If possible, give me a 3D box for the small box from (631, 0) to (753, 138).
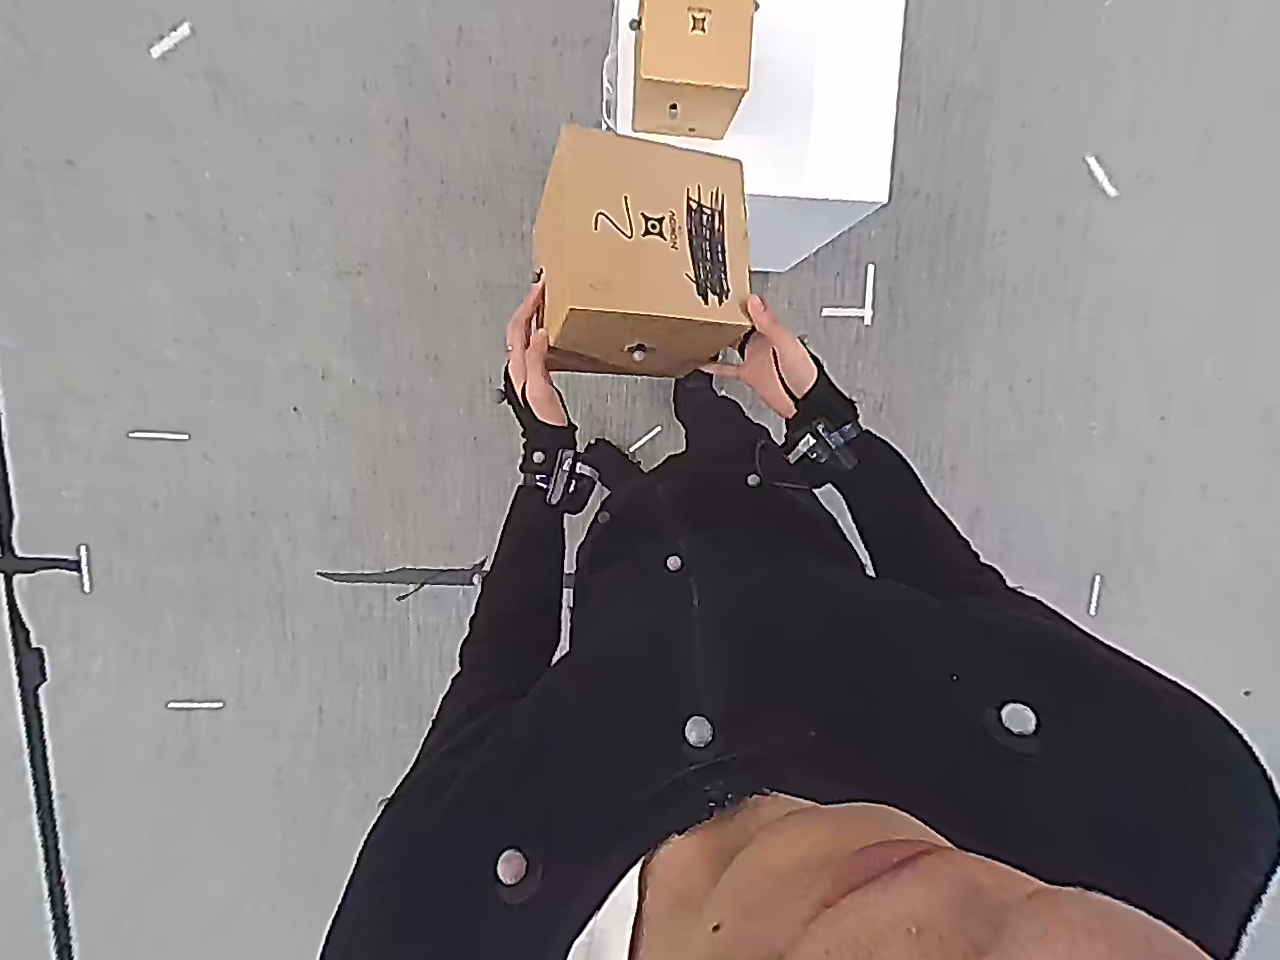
[{"bbox_3d":[0.076,-0.679,0.864,0.168,0.176,0.179,2,98,-6],"label":"small box"}]
